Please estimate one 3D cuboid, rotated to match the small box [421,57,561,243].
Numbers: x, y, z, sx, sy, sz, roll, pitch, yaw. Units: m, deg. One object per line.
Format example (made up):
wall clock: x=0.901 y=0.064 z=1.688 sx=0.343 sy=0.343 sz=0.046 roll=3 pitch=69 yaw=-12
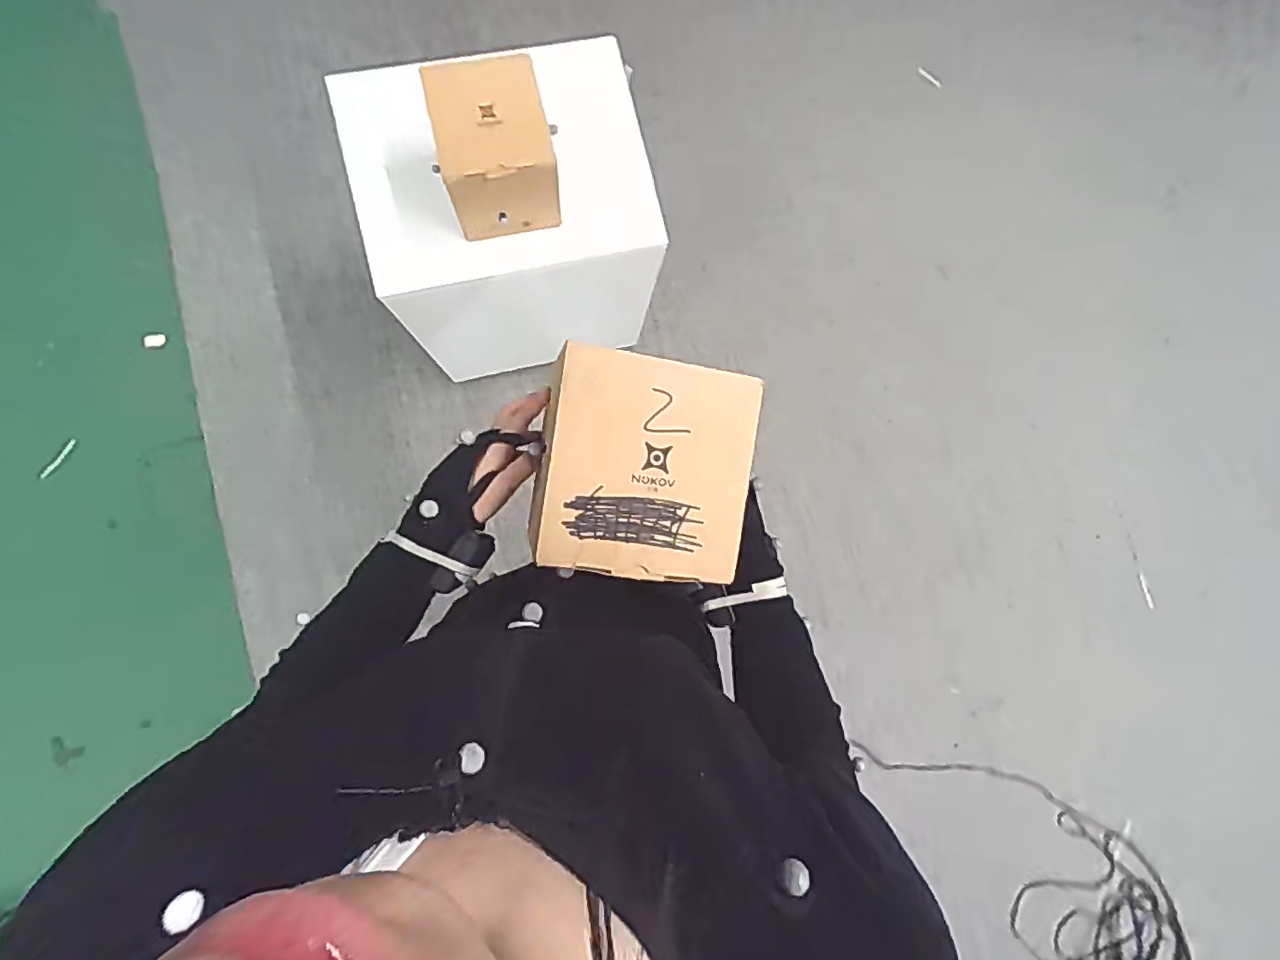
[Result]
small box: x=-0.223 y=-0.504 z=0.844 sx=0.168 sy=0.176 sz=0.179 roll=-14 pitch=86 yaw=-7
